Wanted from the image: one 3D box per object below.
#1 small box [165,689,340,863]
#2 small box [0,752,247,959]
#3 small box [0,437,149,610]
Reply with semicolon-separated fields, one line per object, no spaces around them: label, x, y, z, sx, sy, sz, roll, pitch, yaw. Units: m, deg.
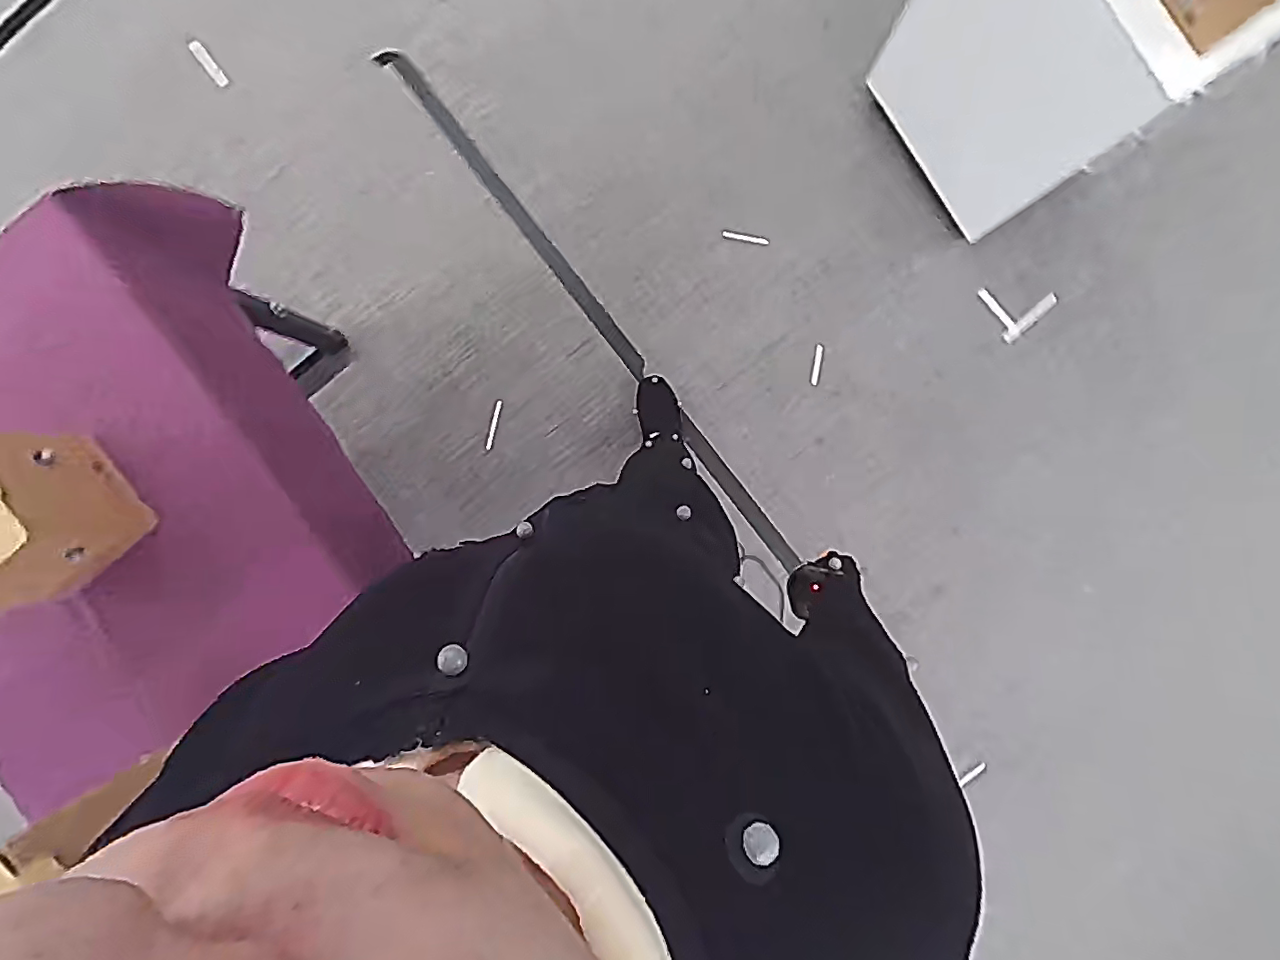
small box;-0.550;0.418;0.717;0.179;0.176;0.168;-40;90;2
small box;-0.554;0.425;0.553;0.179;0.176;0.168;-41;90;3
small box;-0.811;0.053;0.710;0.179;0.176;0.168;-39;90;3
